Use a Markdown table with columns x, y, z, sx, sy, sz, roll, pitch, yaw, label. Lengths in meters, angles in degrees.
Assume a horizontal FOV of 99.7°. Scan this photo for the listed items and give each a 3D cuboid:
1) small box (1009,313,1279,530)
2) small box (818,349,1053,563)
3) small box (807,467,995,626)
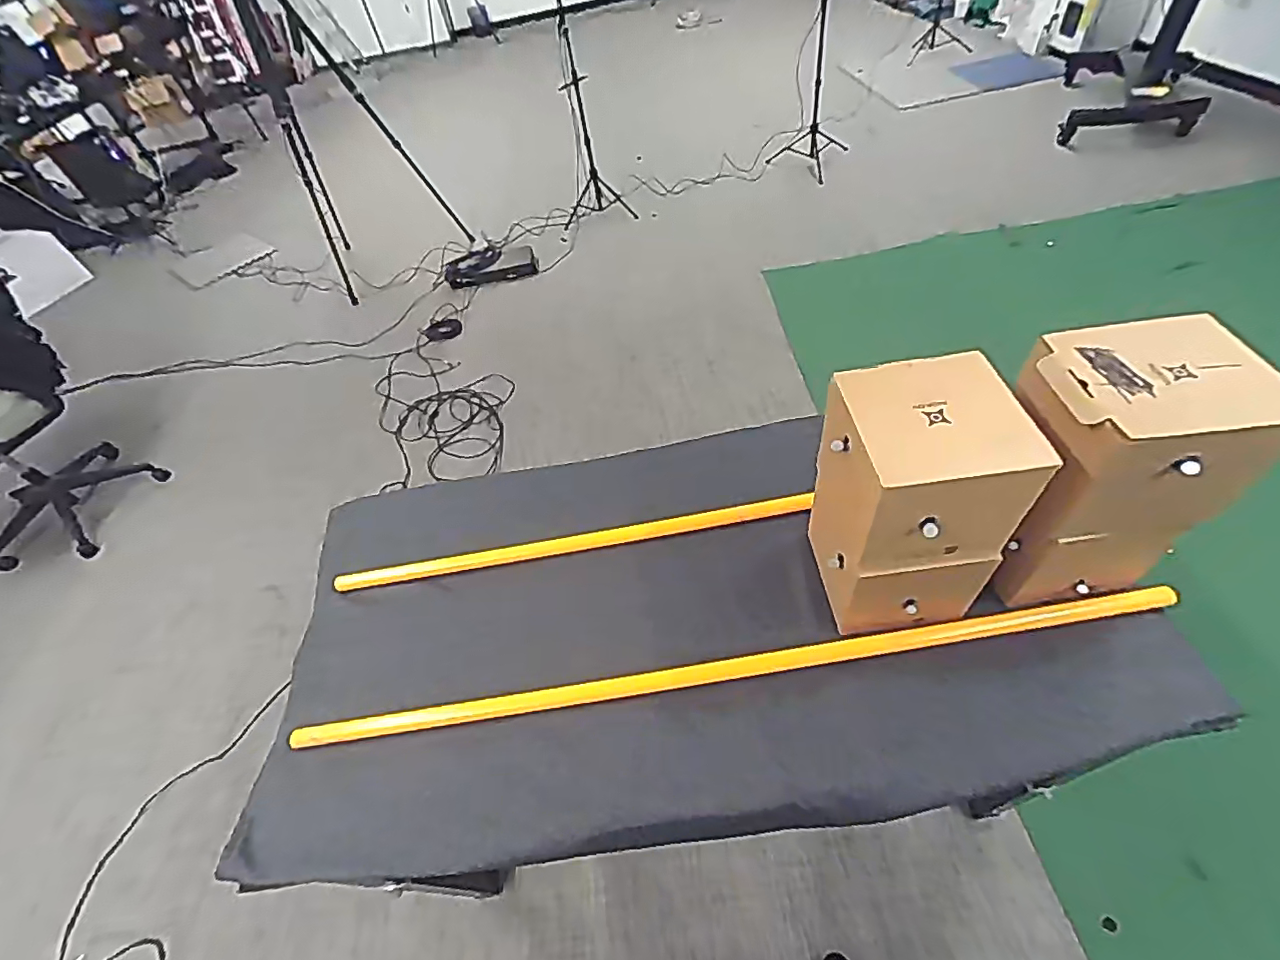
| x | y | z | sx | sy | sz | roll | pitch | yaw | label |
| --- | --- | --- | --- | --- | --- | --- | --- | --- | --- |
| 0.537 | -0.058 | 0.604 | 0.179 | 0.176 | 0.168 | -6 | 51 | 5 | small box |
| 0.312 | -0.018 | 0.618 | 0.168 | 0.176 | 0.179 | -9 | 50 | 5 | small box |
| 0.337 | 0.087 | 0.740 | 0.168 | 0.176 | 0.179 | -8 | 50 | 4 | small box |
